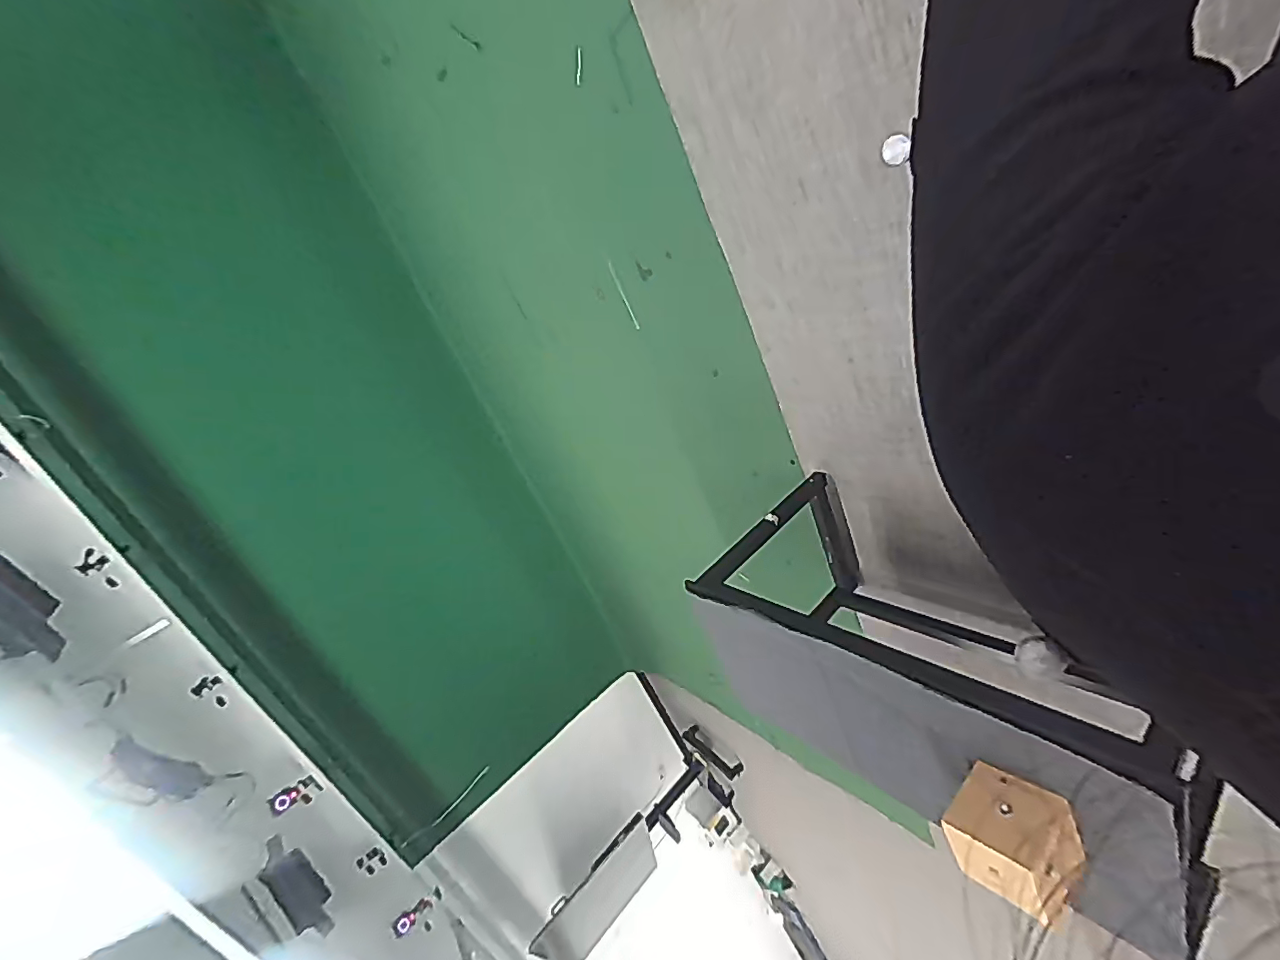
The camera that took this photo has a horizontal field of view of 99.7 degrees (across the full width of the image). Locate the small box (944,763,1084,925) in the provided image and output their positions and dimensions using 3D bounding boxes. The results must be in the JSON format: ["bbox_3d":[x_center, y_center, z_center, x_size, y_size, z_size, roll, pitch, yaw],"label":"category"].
[{"bbox_3d":[0.753,0.716,1.086,0.168,0.176,0.179,4,126,59],"label":"small box"}]
